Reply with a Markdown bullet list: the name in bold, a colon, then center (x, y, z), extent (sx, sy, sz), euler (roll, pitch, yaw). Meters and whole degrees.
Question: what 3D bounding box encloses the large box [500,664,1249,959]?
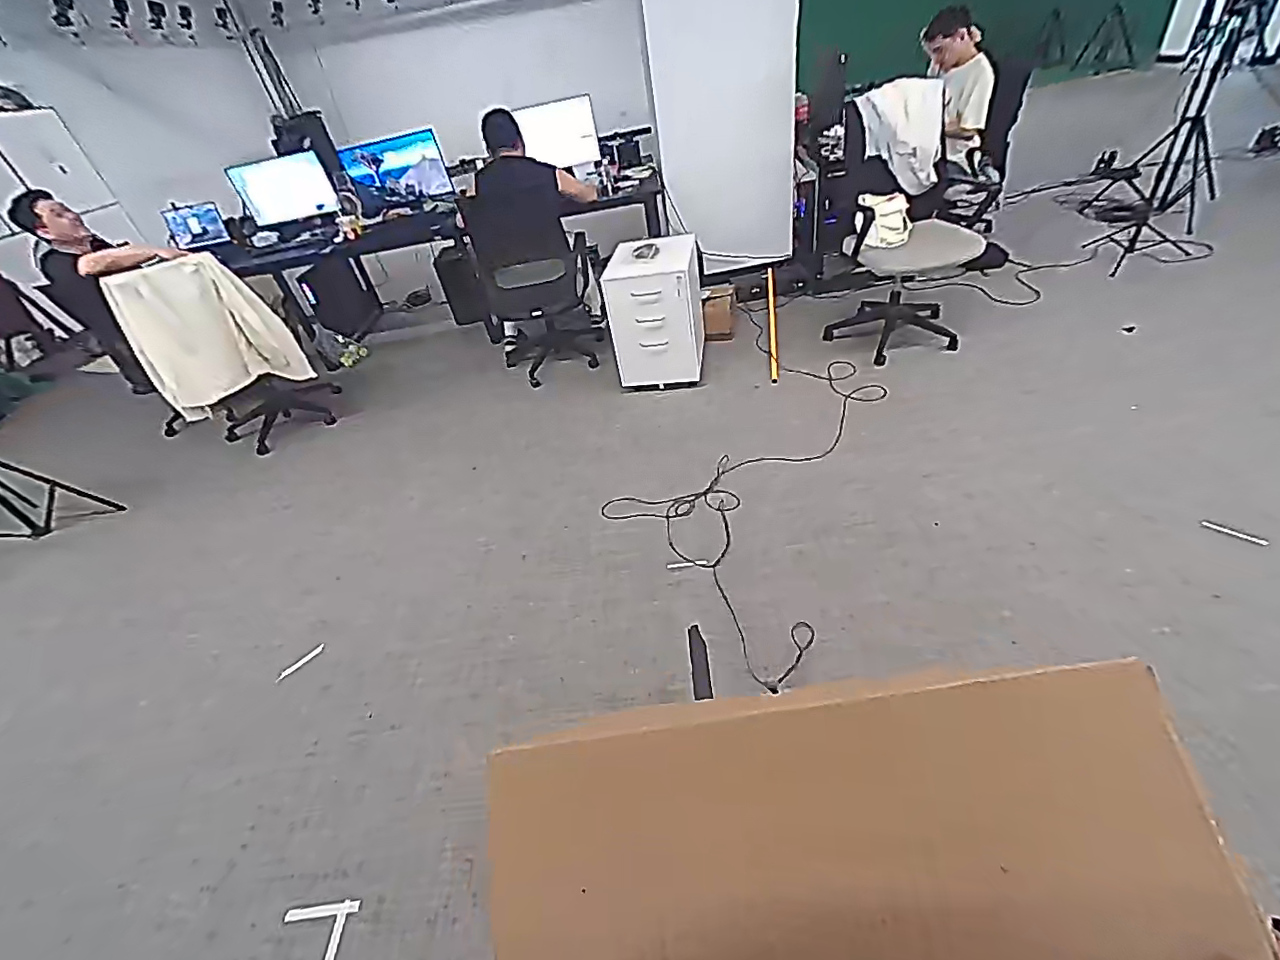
- **large box**: center (0.146, 0.341, 0.434), extent (0.408, 0.320, 0.320), euler (-11, 69, 6)
